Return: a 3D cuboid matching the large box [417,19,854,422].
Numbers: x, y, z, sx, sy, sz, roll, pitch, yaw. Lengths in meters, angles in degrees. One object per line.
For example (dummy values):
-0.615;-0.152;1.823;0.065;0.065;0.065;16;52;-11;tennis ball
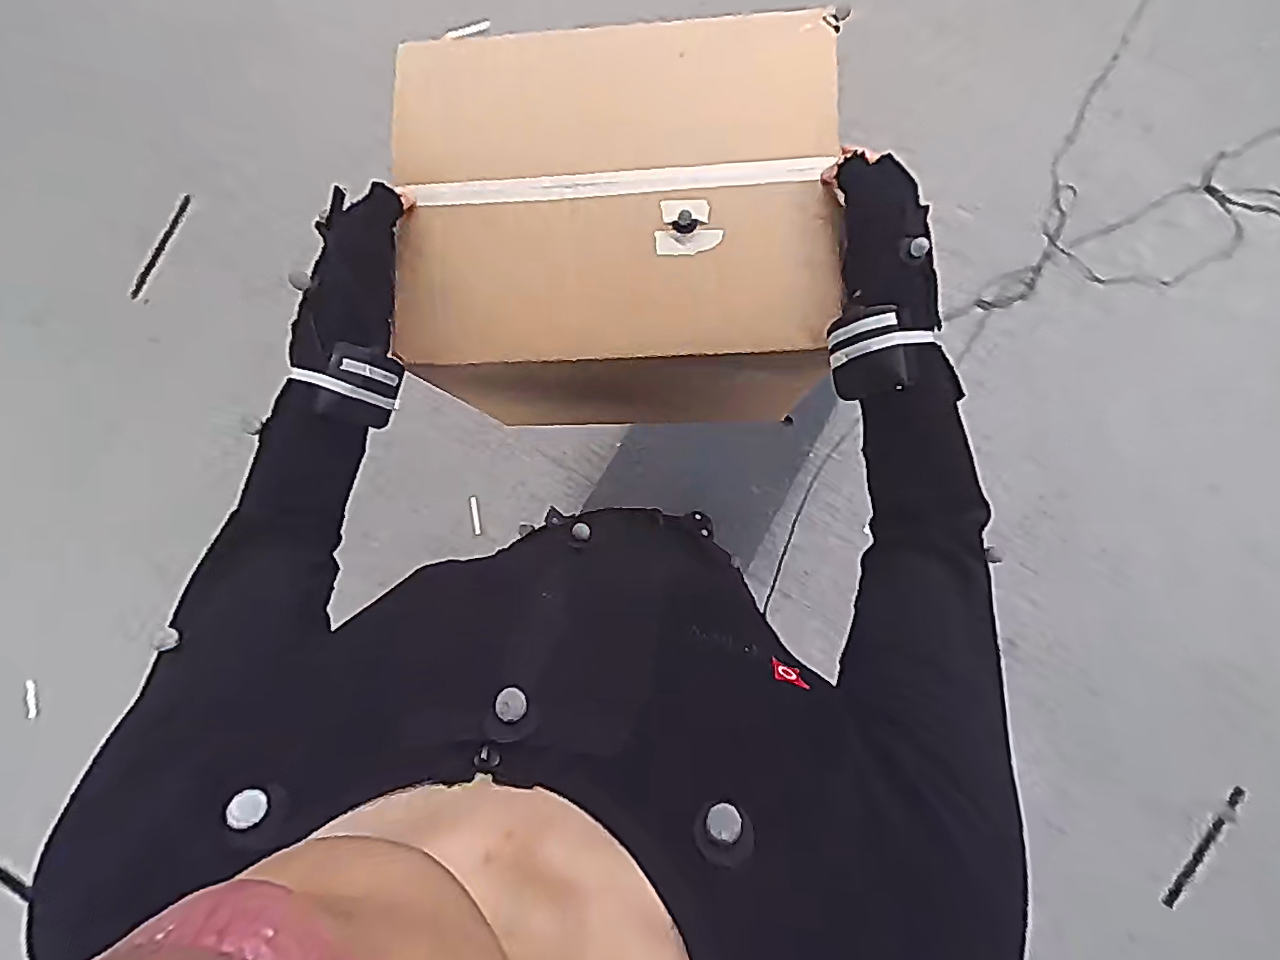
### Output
-0.002;-0.256;0.647;0.408;0.320;0.320;-1;85;5;large box
